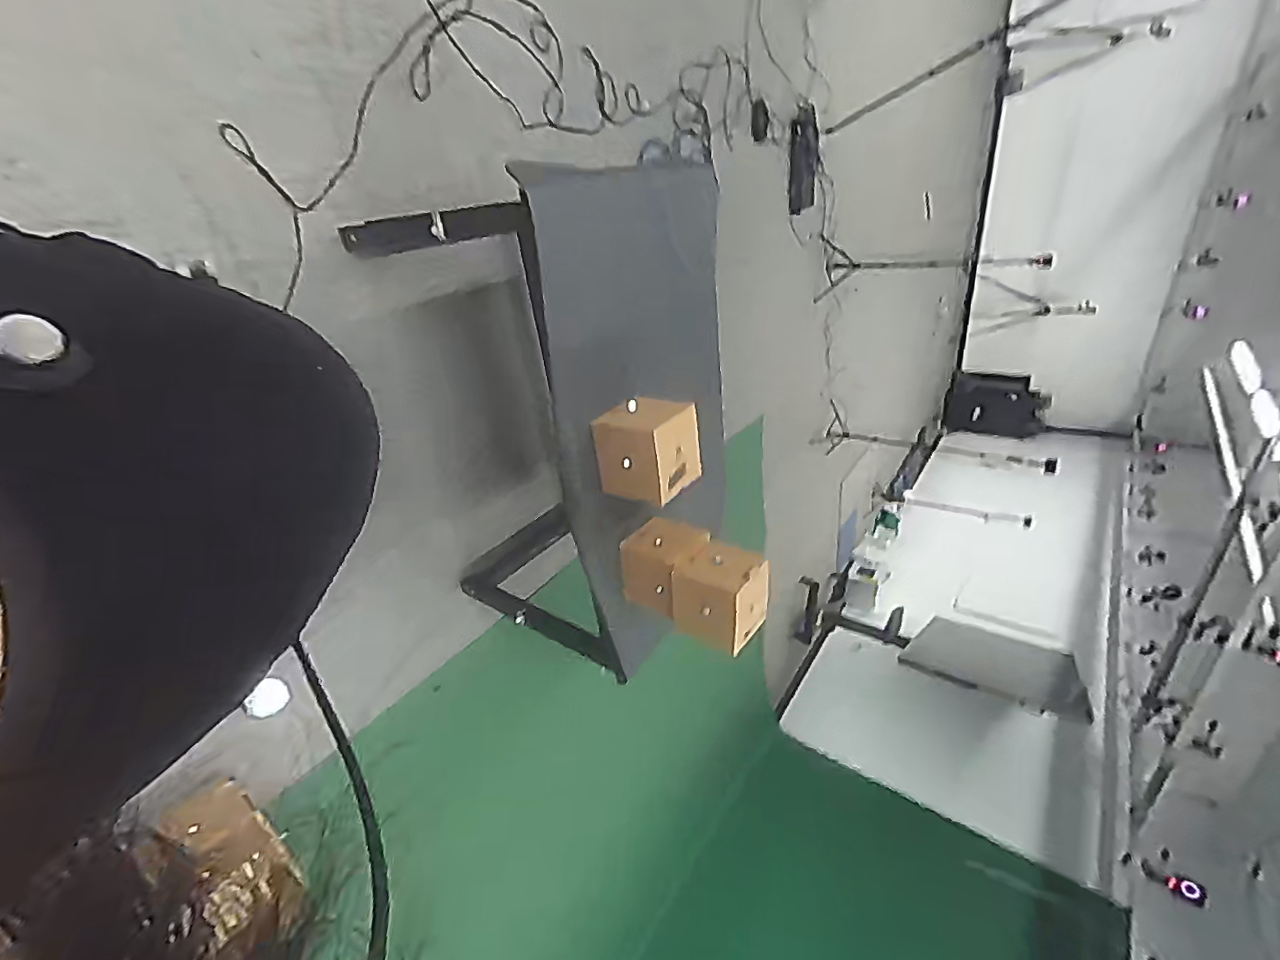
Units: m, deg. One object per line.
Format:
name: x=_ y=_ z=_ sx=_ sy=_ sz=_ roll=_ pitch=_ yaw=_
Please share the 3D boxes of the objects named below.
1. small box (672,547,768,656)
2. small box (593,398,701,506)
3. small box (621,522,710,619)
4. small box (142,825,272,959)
small box: x=0.186 y=0.271 z=1.266 sx=0.168 sy=0.176 sz=0.179 roll=-29 pitch=124 yaw=-46
small box: x=0.017 y=-0.069 z=1.194 sx=0.168 sy=0.176 sz=0.179 roll=-36 pitch=128 yaw=-44
small box: x=0.064 y=0.221 z=1.366 sx=0.168 sy=0.176 sz=0.179 roll=-32 pitch=127 yaw=-44
small box: x=-1.039 y=0.987 z=1.300 sx=0.179 sy=0.176 sz=0.168 roll=-33 pitch=126 yaw=-42
